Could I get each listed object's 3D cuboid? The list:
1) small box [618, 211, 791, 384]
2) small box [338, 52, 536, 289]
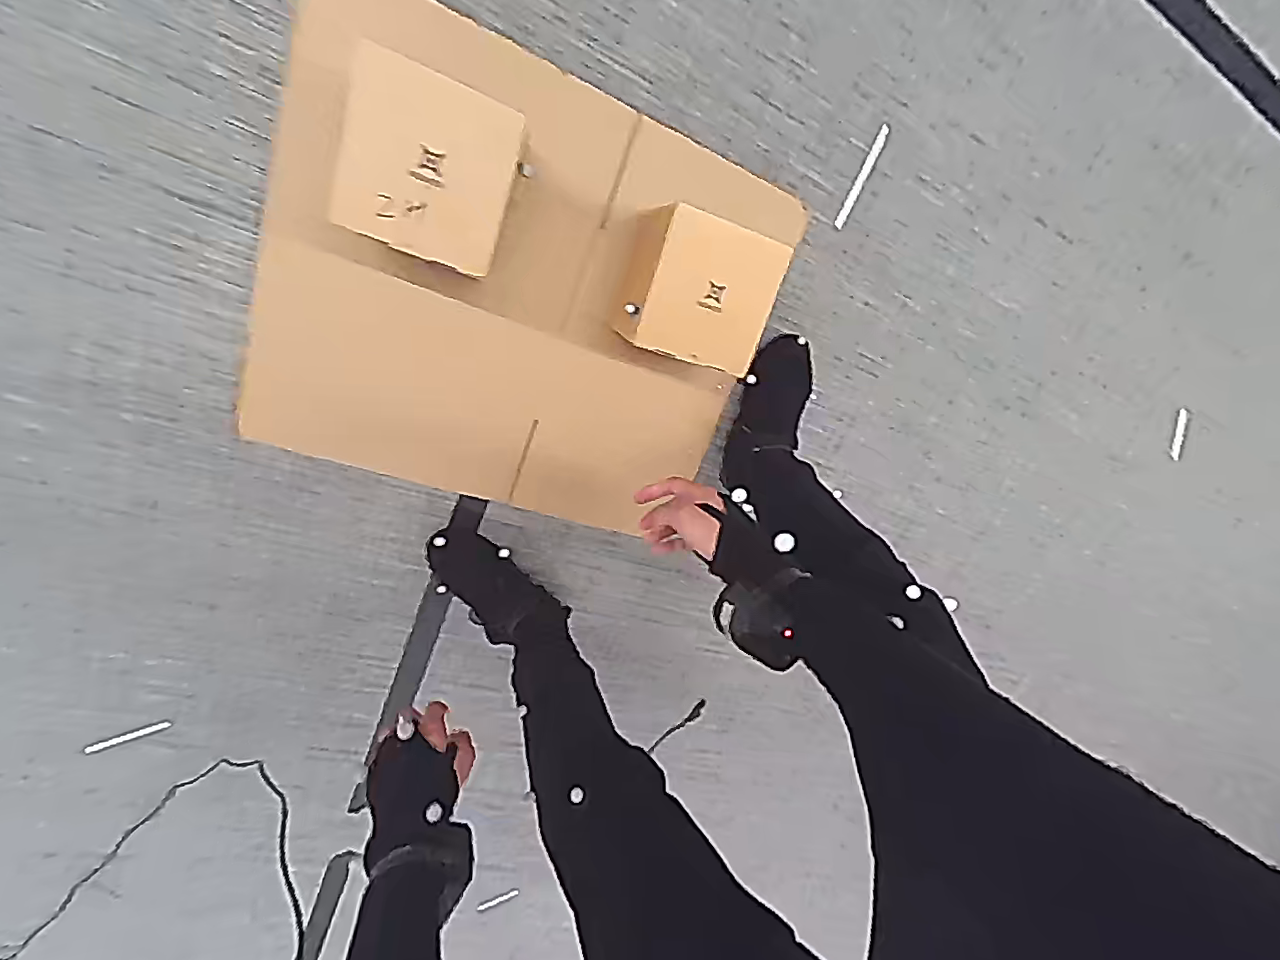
[{"bbox_3d":[0.077,-0.257,0.764,0.168,0.176,0.179,13,109,-18],"label":"small box"},{"bbox_3d":[-0.232,-0.349,0.645,0.168,0.176,0.179,16,108,-18],"label":"small box"}]
